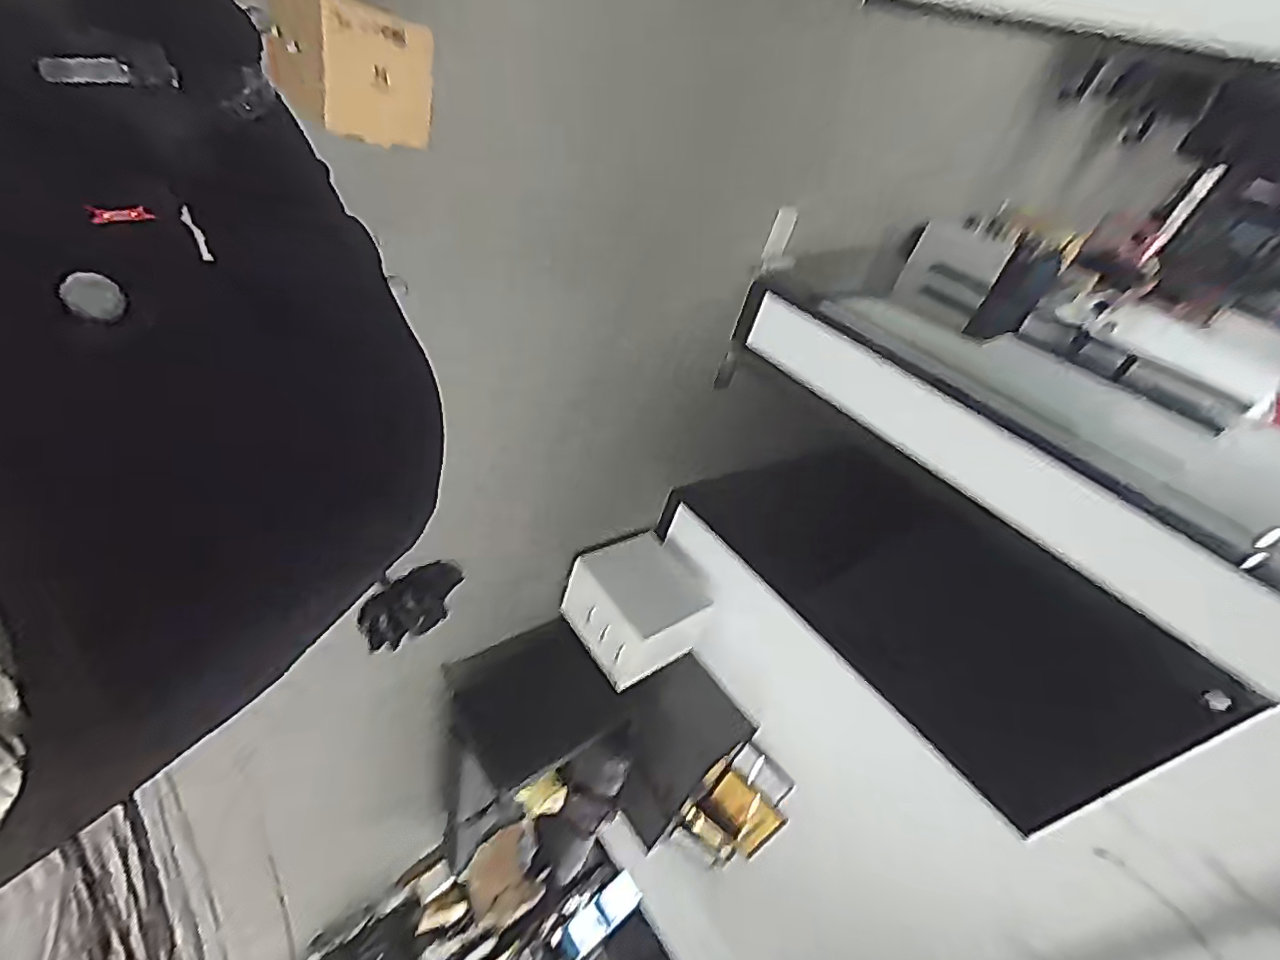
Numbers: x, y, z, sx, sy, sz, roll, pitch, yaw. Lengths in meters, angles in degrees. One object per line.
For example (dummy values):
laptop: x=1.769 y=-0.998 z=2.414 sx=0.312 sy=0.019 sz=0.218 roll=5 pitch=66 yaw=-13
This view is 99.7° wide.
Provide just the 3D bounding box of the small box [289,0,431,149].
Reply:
small box: x=-0.469 y=-0.689 z=0.902 sx=0.168 sy=0.176 sz=0.179 roll=-14 pitch=138 yaw=-41

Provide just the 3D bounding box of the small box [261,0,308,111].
small box: x=-0.570 y=-0.786 z=0.986 sx=0.168 sy=0.176 sz=0.179 roll=-18 pitch=140 yaw=-37
